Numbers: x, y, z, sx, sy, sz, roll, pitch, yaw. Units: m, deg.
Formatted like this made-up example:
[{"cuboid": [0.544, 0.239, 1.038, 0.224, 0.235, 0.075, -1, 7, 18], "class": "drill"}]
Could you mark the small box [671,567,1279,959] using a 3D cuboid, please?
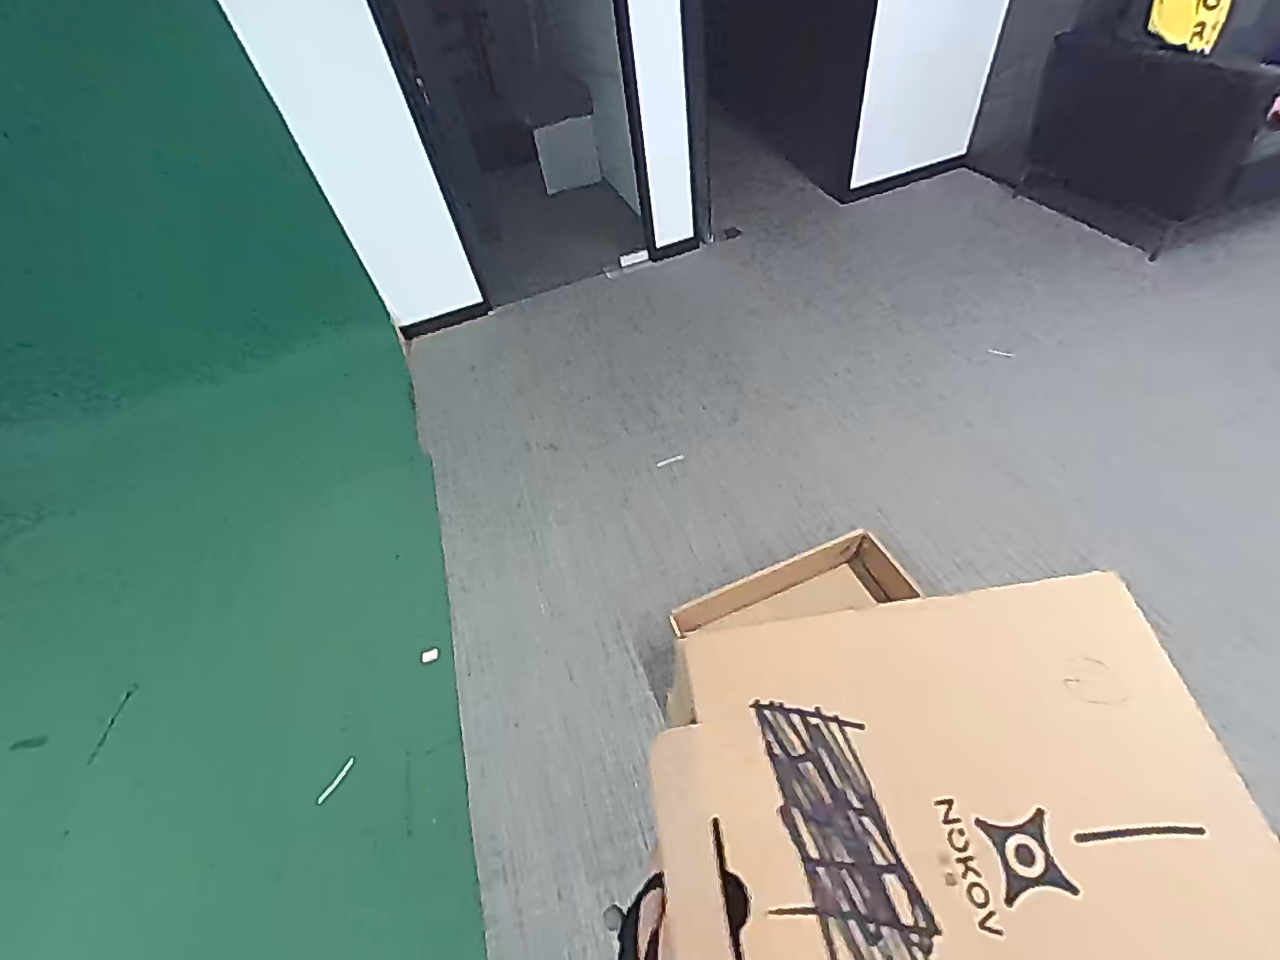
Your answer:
[{"cuboid": [0.114, 0.157, 0.250, 0.179, 0.176, 0.168, -9, 61, -2], "class": "small box"}]
